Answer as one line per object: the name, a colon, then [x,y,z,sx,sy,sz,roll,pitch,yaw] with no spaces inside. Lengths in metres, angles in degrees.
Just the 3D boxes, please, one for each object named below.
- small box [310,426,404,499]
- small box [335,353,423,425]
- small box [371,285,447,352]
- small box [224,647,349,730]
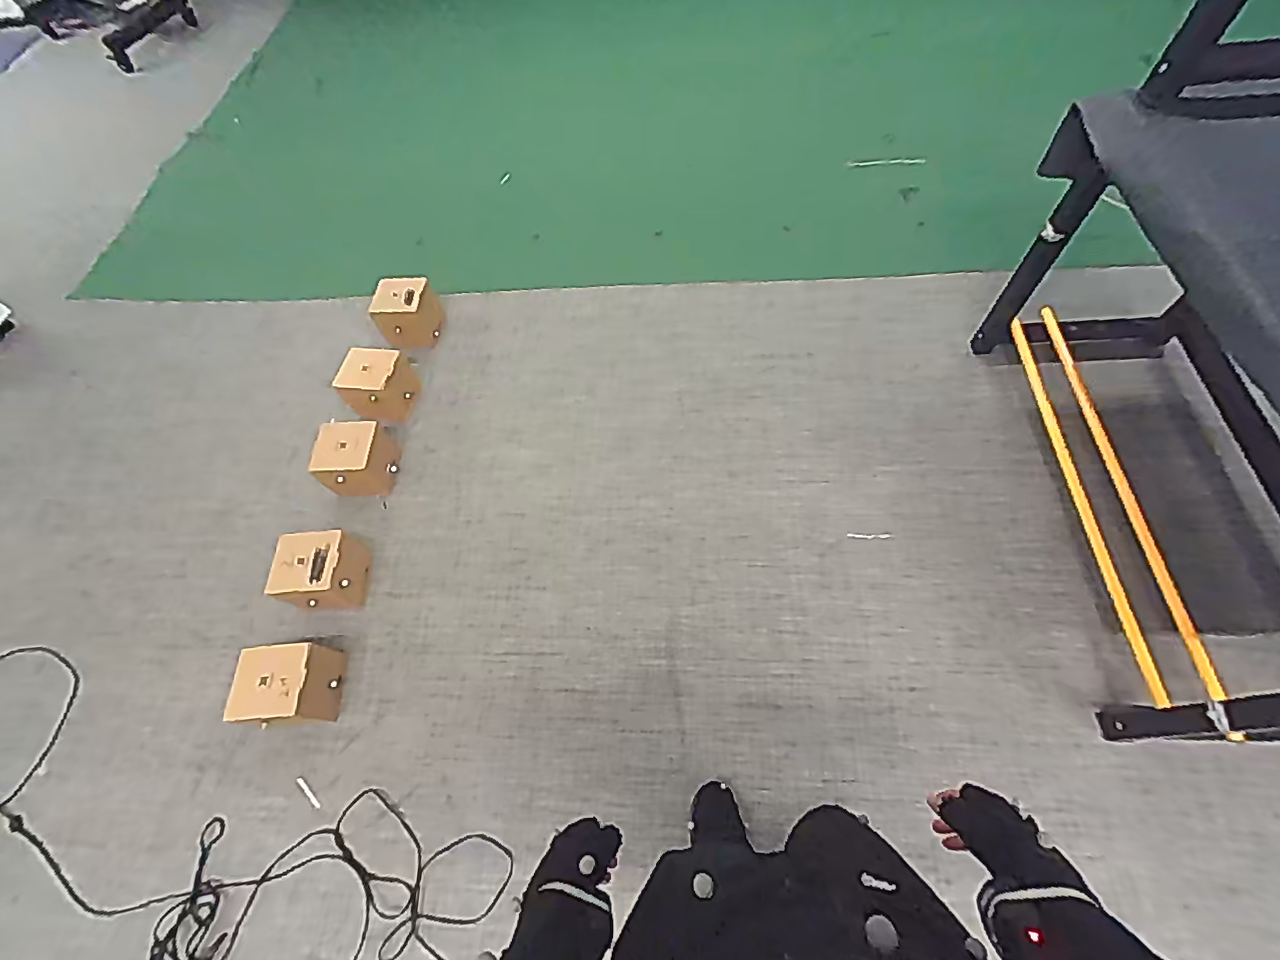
small box: [-0.854,-0.048,1.648,0.179,0.176,0.168,-2,63,2]
small box: [-0.853,-0.297,1.787,0.179,0.176,0.168,6,62,8]
small box: [-0.819,-0.576,1.938,0.179,0.176,0.168,1,61,7]
small box: [-0.862,0.519,1.335,0.179,0.176,0.168,-5,62,2]
